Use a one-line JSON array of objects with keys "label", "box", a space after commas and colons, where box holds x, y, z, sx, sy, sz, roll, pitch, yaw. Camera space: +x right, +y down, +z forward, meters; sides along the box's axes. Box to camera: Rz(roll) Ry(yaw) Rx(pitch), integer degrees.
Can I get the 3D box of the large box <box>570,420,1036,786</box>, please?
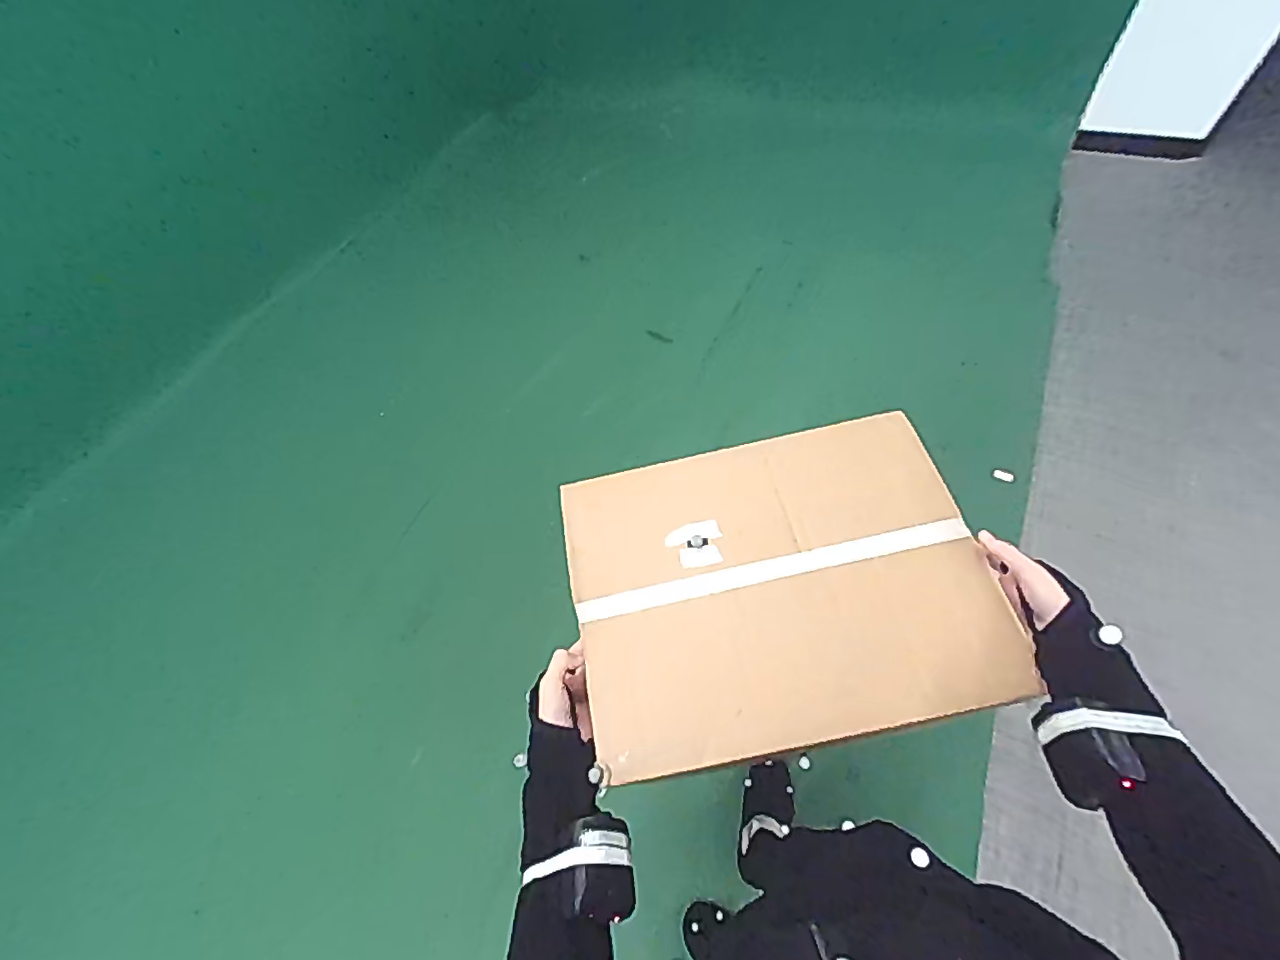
[{"label": "large box", "box": [0.158, 0.173, 0.688, 0.408, 0.320, 0.320, -13, 59, 2]}]
